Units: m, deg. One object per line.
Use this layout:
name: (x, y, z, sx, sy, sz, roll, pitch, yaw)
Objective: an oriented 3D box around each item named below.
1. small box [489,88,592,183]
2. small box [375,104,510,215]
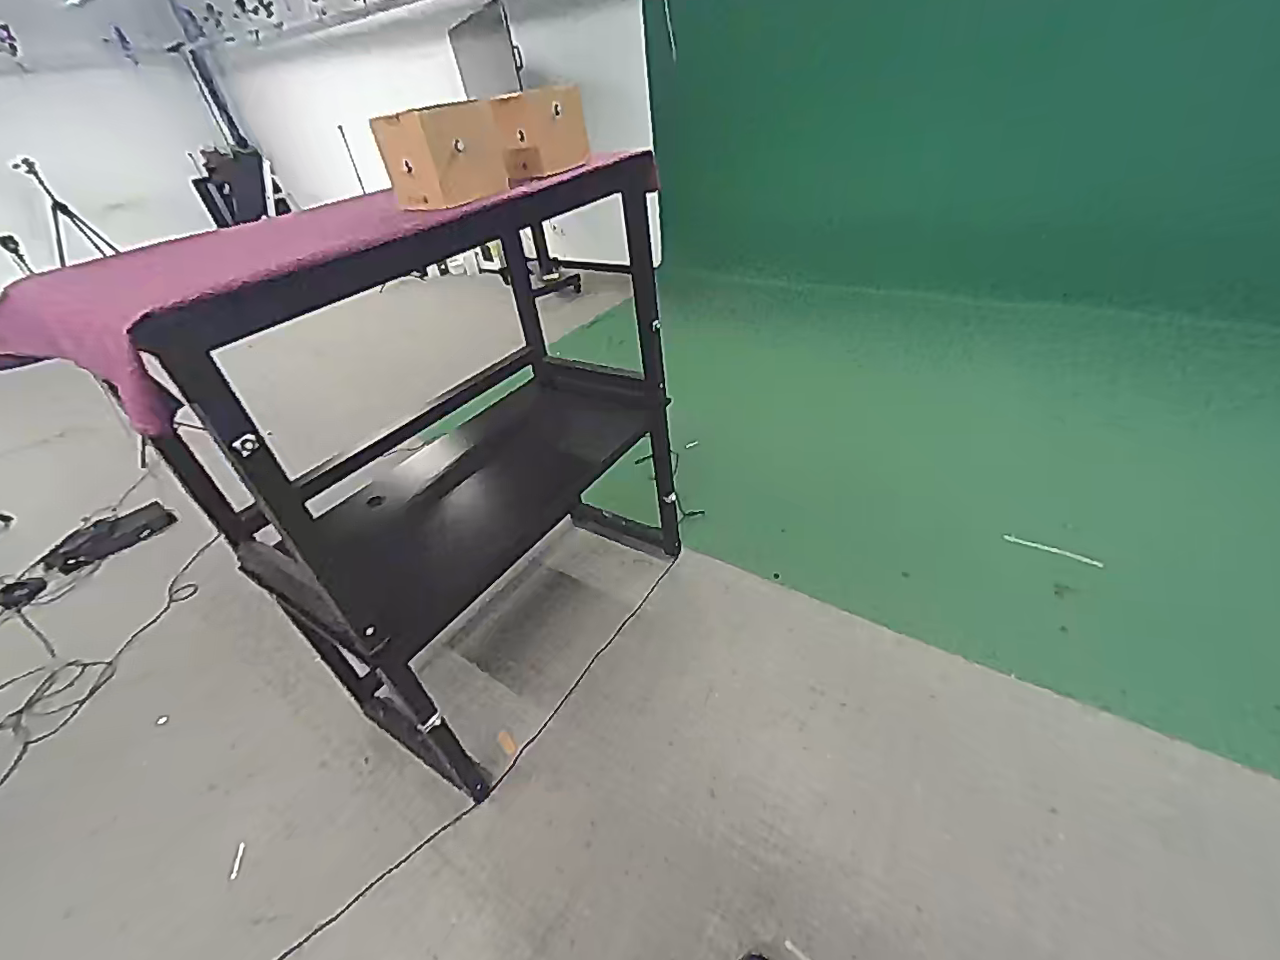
small box: (-0.239, -0.835, 1.322, 0.168, 0.176, 0.179, 20, 46, 34)
small box: (-0.400, -0.660, 1.124, 0.168, 0.176, 0.179, 19, 46, 32)
